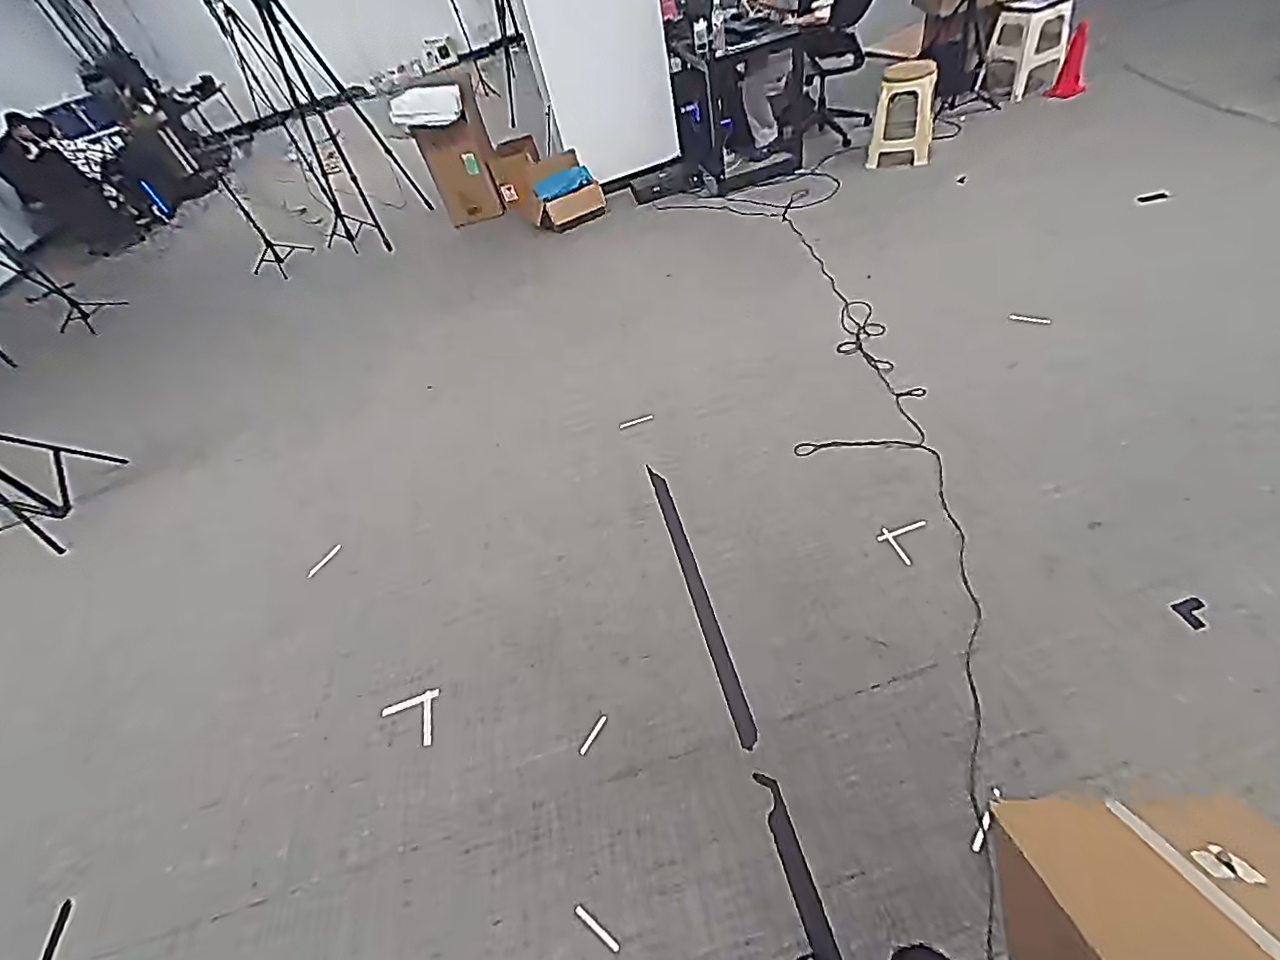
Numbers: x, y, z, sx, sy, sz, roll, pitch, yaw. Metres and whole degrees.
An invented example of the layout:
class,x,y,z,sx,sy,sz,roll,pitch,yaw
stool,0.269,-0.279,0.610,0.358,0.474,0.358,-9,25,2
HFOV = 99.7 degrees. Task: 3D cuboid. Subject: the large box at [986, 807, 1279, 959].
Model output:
class,x,y,z,sx,sy,sz,roll,pitch,yaw
large box,0.645,0.623,0.578,0.320,0.408,0.320,-6,88,11
